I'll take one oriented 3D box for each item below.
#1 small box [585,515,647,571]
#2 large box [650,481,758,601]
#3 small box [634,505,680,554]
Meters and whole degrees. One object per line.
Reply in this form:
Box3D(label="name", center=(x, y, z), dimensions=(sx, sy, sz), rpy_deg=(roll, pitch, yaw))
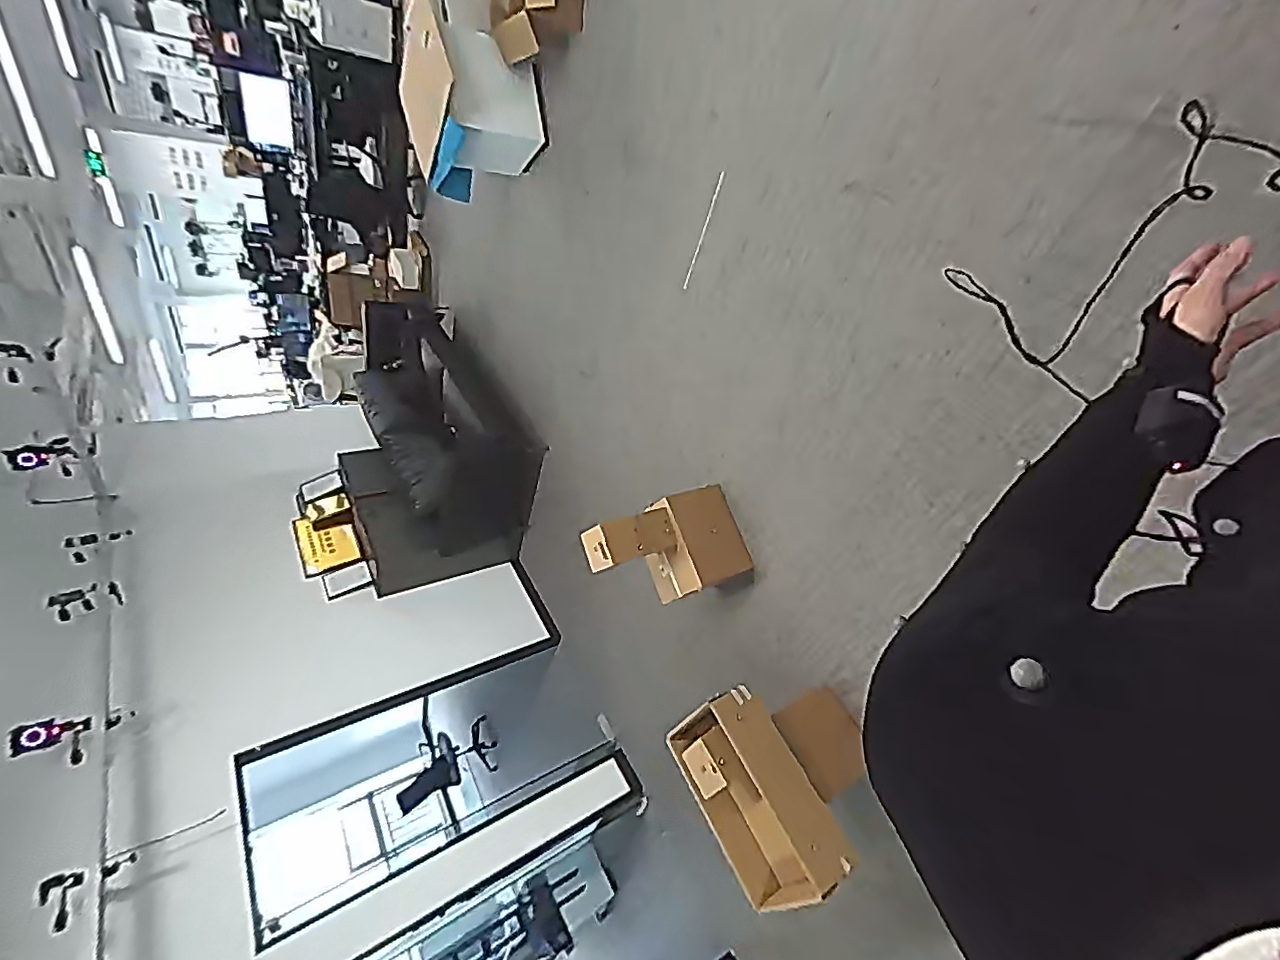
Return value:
Box3D(label="small box", center=(-0.089, 0.248, 2.141), dimensions=(0.179, 0.176, 0.168), rpy_deg=(-31, 76, 54))
Box3D(label="large box", center=(0.248, 0.267, 2.390), dimensions=(0.320, 0.320, 0.408), rpy_deg=(-42, 67, 52))
Box3D(label="small box", center=(0.037, 0.217, 2.241), dimensions=(0.179, 0.176, 0.168), rpy_deg=(-31, 76, 52))
